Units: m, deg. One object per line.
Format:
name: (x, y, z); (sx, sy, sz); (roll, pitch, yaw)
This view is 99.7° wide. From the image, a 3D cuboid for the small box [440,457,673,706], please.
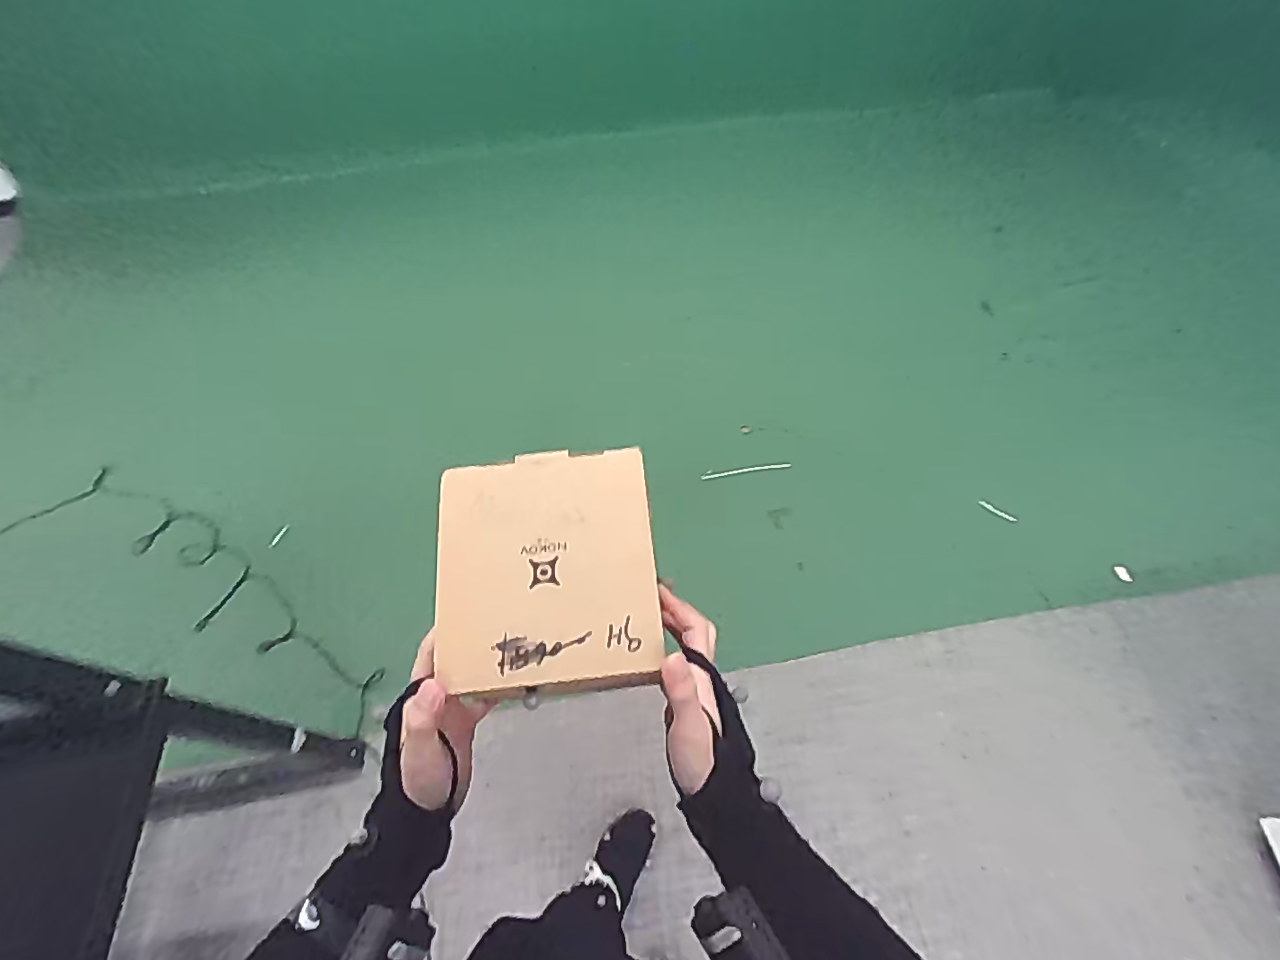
small box: (-0.061, 0.099, 0.485); (0.168, 0.176, 0.179); (-6, 65, 1)
